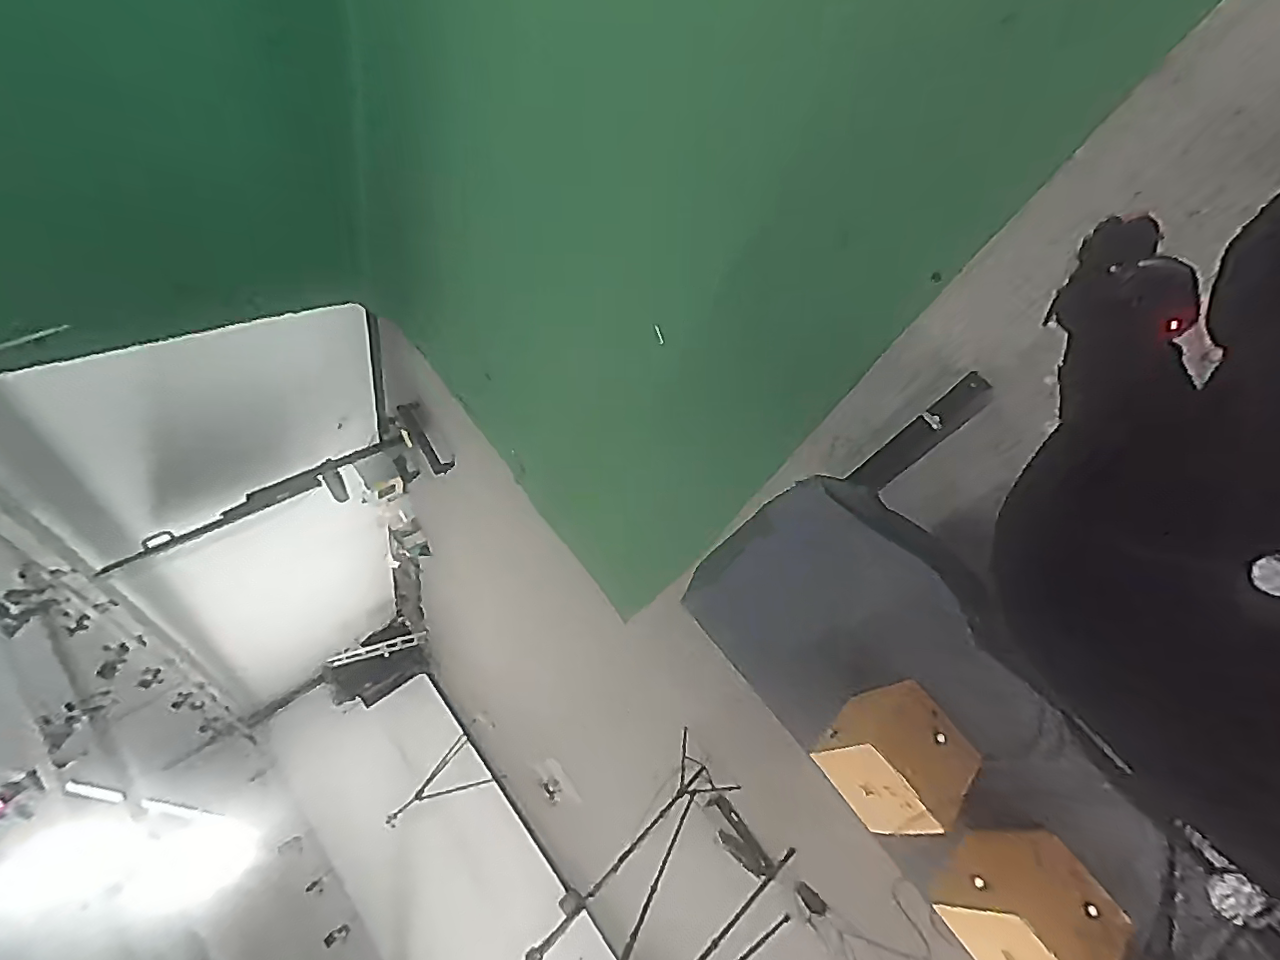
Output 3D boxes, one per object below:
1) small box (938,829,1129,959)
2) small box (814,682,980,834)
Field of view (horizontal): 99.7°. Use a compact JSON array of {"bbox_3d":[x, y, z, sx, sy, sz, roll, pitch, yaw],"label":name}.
[{"bbox_3d":[0.646,0.710,0.890,0.168,0.176,0.179,50,143,14],"label":"small box"},{"bbox_3d":[0.456,0.491,0.961,0.168,0.176,0.179,50,143,13],"label":"small box"}]
